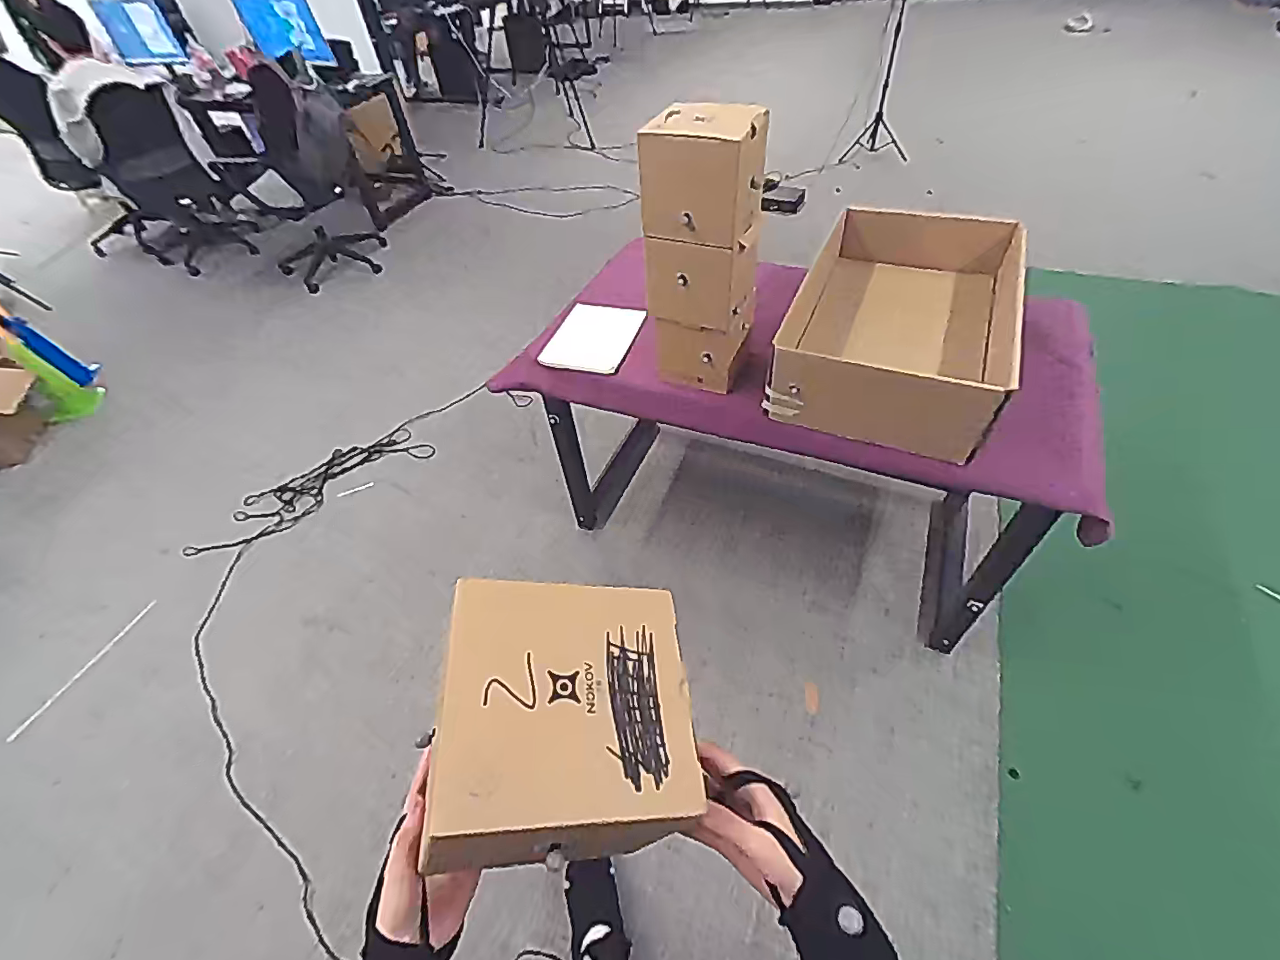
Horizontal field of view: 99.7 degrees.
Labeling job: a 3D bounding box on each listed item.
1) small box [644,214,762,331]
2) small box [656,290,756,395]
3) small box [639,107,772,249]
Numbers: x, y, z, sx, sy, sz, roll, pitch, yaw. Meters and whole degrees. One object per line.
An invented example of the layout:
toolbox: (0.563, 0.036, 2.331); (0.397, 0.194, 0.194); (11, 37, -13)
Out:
small box: (0.125, -0.415, 1.066); (0.179, 0.176, 0.168); (17, 51, 20)
small box: (0.148, -0.312, 1.192); (0.168, 0.176, 0.179); (17, 51, 19)
small box: (0.113, -0.525, 0.944); (0.179, 0.176, 0.168); (17, 51, 19)
